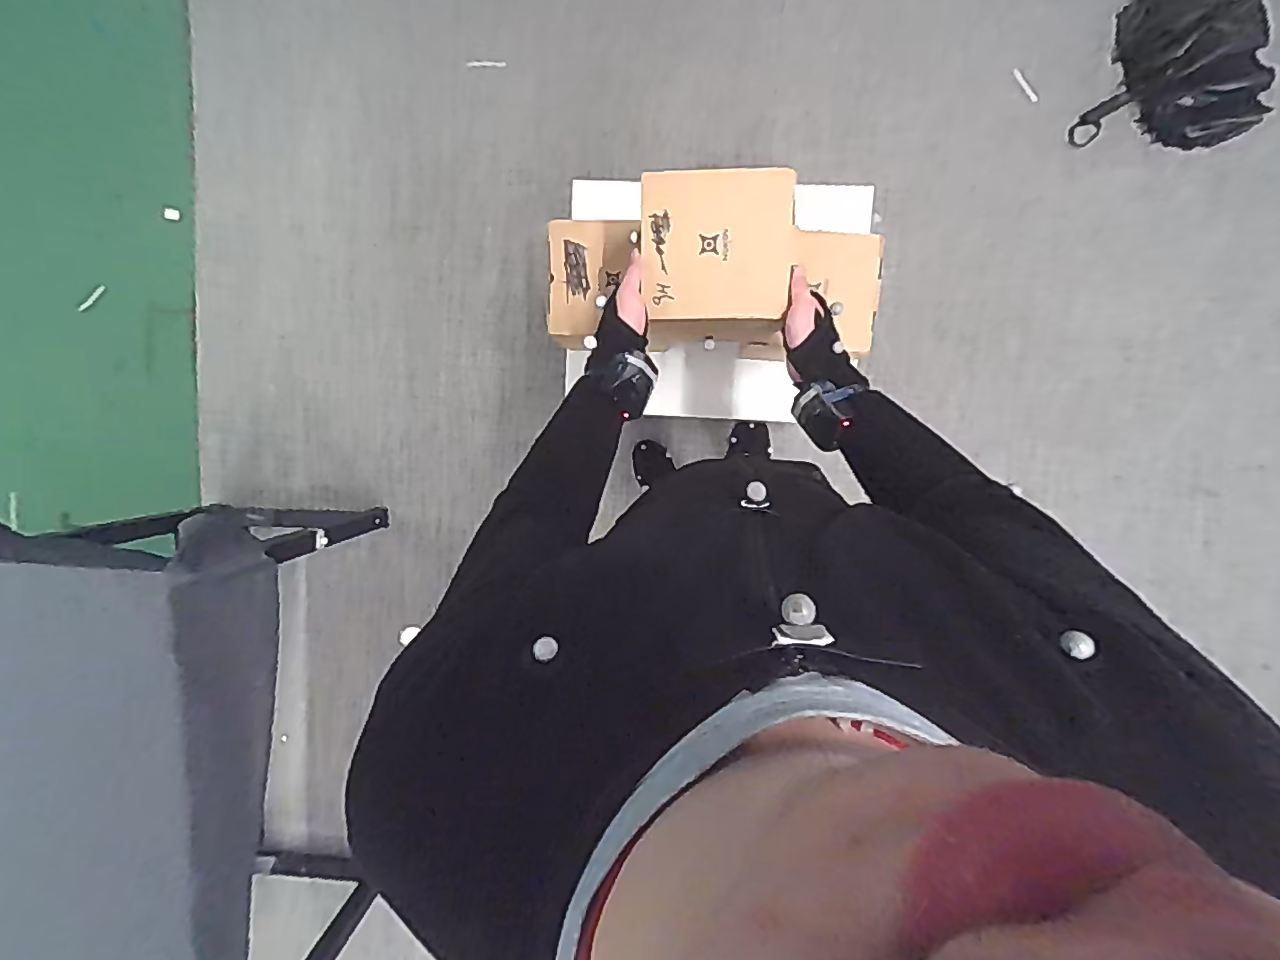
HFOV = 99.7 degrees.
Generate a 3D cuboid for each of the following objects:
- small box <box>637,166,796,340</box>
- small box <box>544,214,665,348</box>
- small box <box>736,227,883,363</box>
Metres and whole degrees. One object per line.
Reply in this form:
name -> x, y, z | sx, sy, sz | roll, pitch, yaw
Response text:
small box -> 0.088, -0.275, 0.688 | 0.179, 0.176, 0.168 | 1, 96, 3
small box -> -0.046, -0.305, 0.858 | 0.179, 0.176, 0.168 | 2, 97, 3
small box -> 0.251, -0.278, 0.840 | 0.179, 0.176, 0.168 | 5, 96, 6
